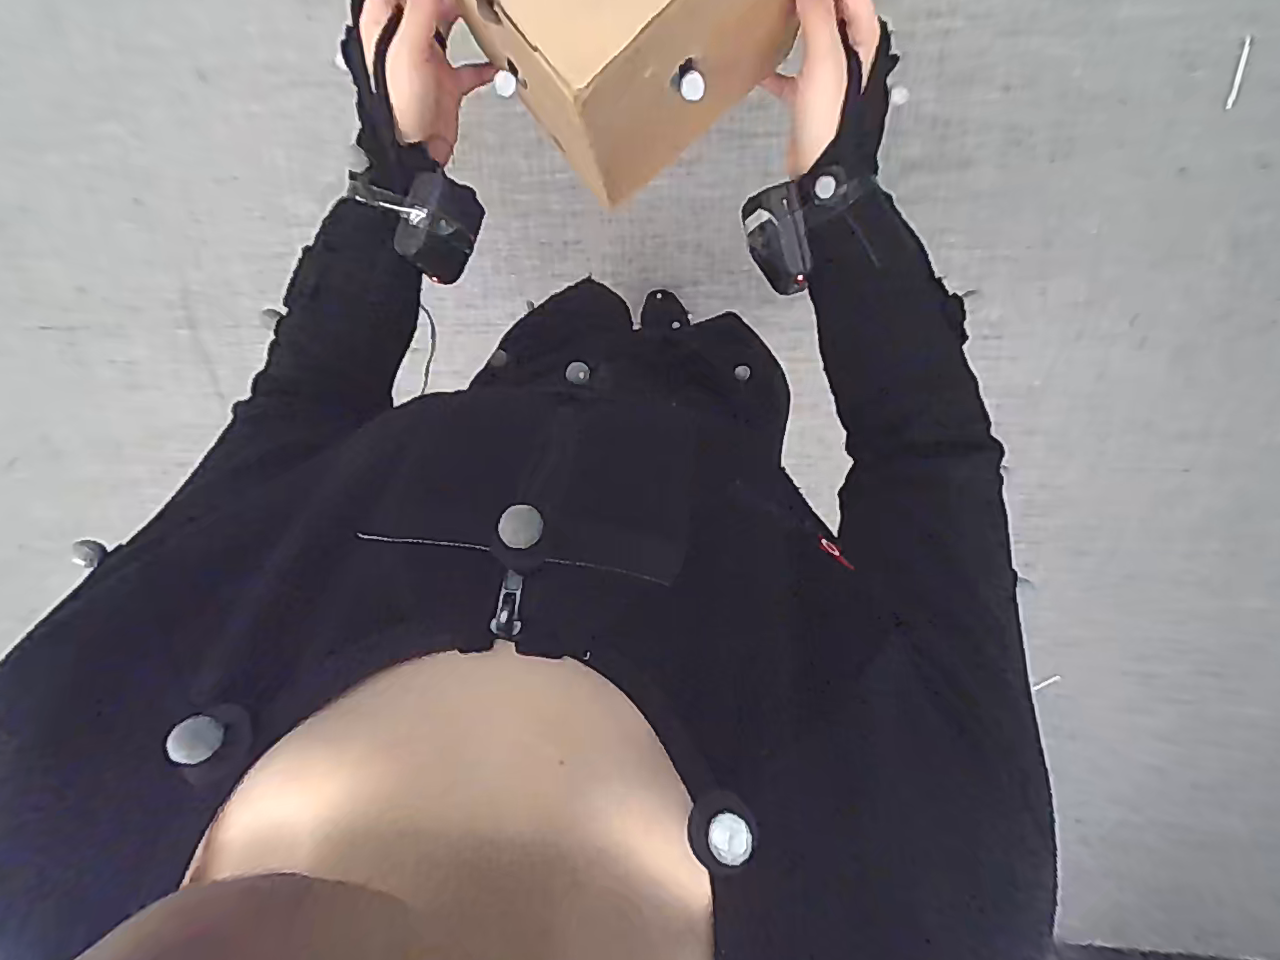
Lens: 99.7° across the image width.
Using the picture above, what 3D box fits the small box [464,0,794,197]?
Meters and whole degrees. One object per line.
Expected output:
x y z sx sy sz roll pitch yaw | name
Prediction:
-0.012 -0.317 0.332 0.179 0.176 0.168 -39 94 8 | small box
